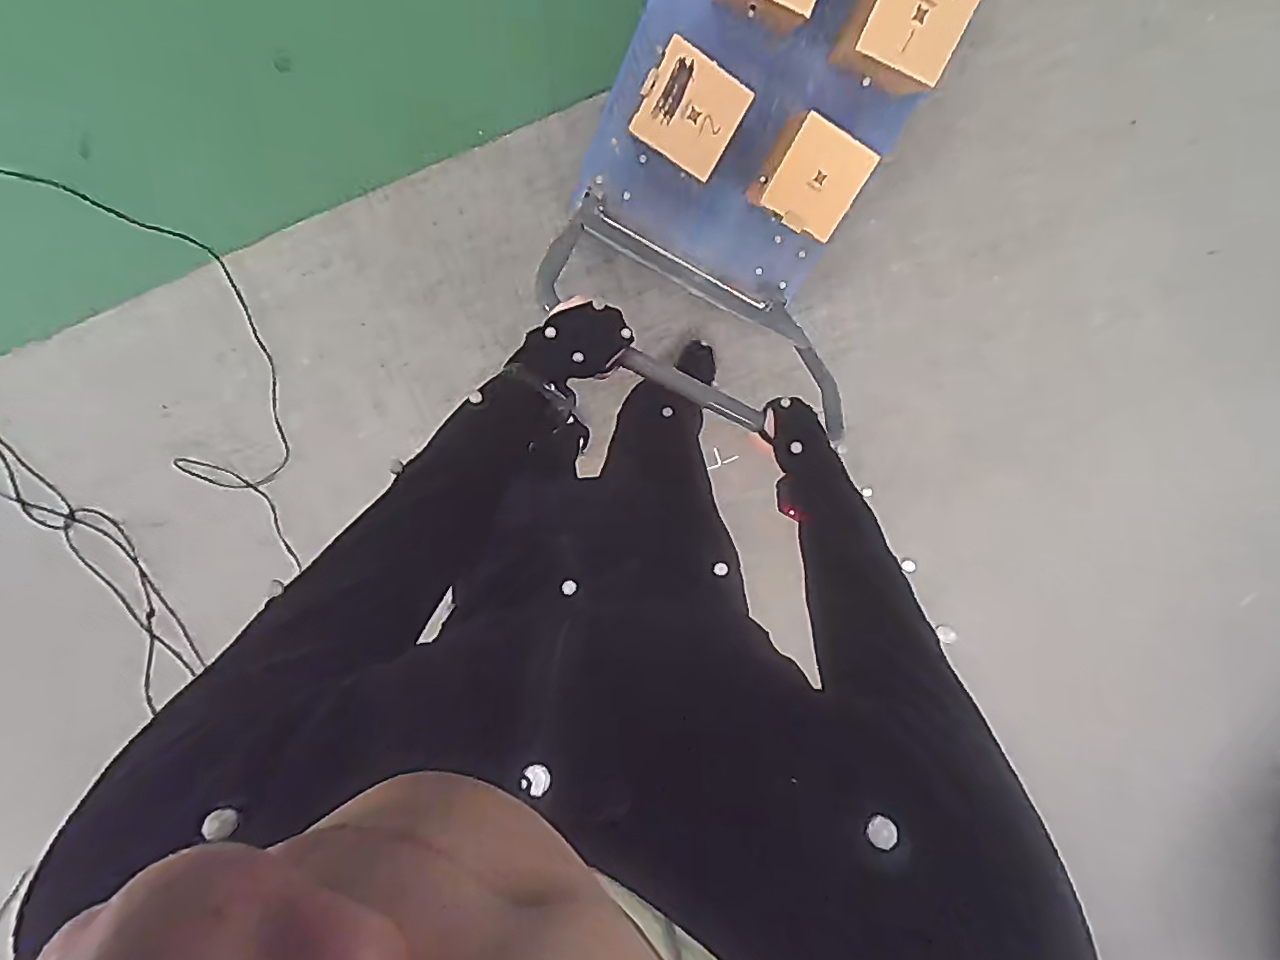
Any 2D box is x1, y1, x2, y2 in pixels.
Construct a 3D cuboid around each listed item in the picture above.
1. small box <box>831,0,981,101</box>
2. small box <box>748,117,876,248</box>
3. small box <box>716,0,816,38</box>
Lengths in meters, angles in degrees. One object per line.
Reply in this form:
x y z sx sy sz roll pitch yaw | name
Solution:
0.480 -0.833 0.995 0.168 0.176 0.179 18 119 -11 | small box
0.343 -0.615 1.122 0.168 0.176 0.179 24 118 -14 | small box
0.239 -0.916 0.942 0.168 0.176 0.179 17 119 -11 | small box
